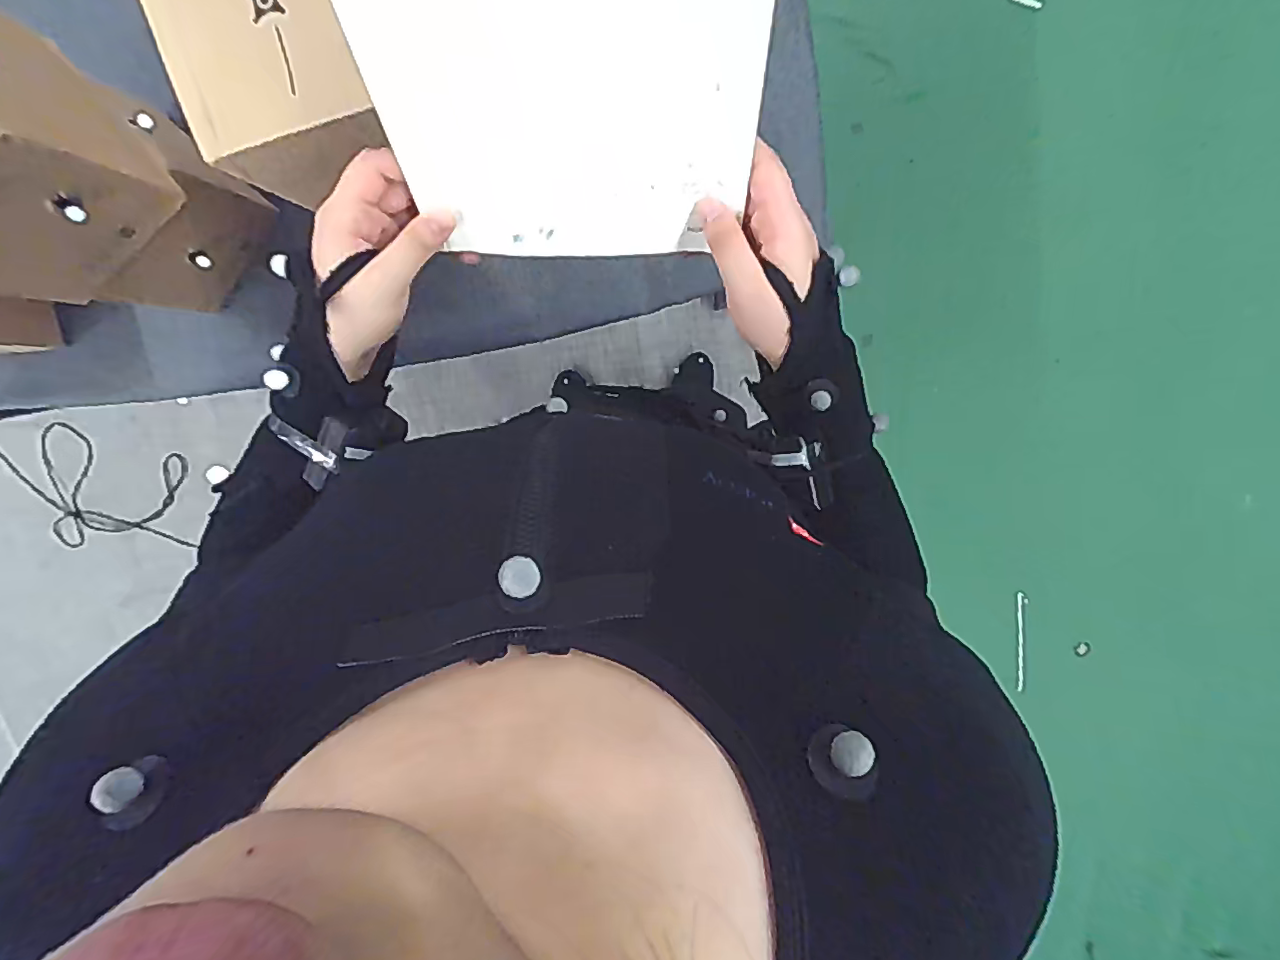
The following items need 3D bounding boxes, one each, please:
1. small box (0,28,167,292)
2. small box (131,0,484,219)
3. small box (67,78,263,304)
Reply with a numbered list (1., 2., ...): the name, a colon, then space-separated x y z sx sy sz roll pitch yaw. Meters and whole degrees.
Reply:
1. small box: -0.567 -0.276 0.447 0.168 0.176 0.179 -38 98 8
2. small box: -0.245 -0.334 0.425 0.168 0.176 0.179 -14 102 5
3. small box: -0.581 -0.316 0.605 0.179 0.176 0.168 39 100 -7
